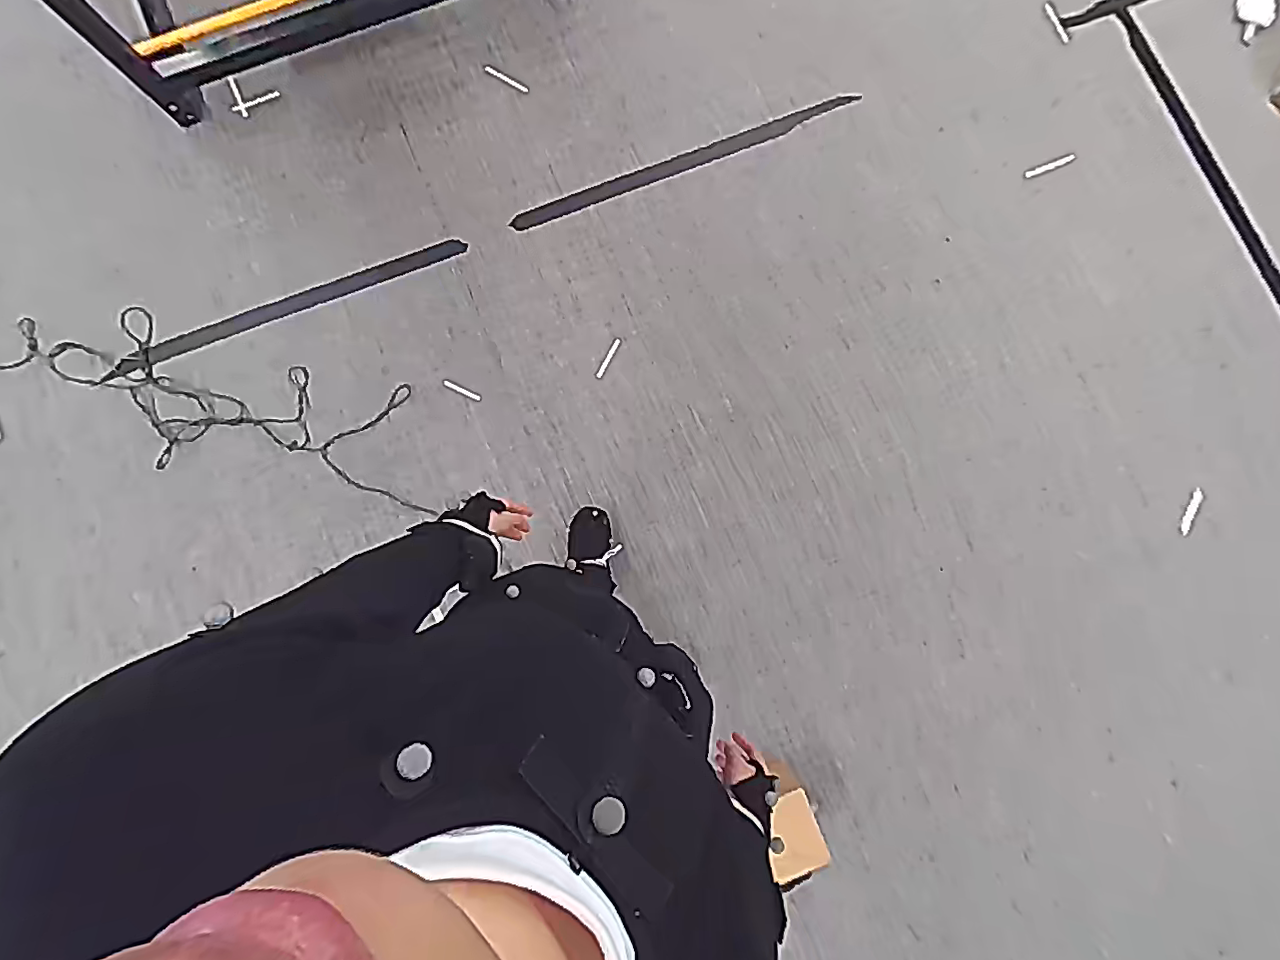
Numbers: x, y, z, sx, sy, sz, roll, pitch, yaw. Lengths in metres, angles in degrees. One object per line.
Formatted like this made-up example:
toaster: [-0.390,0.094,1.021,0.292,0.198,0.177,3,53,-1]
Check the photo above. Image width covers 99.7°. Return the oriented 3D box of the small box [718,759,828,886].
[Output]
small box: [0.301,0.786,1.249,0.179,0.176,0.168,-22,84,-3]
